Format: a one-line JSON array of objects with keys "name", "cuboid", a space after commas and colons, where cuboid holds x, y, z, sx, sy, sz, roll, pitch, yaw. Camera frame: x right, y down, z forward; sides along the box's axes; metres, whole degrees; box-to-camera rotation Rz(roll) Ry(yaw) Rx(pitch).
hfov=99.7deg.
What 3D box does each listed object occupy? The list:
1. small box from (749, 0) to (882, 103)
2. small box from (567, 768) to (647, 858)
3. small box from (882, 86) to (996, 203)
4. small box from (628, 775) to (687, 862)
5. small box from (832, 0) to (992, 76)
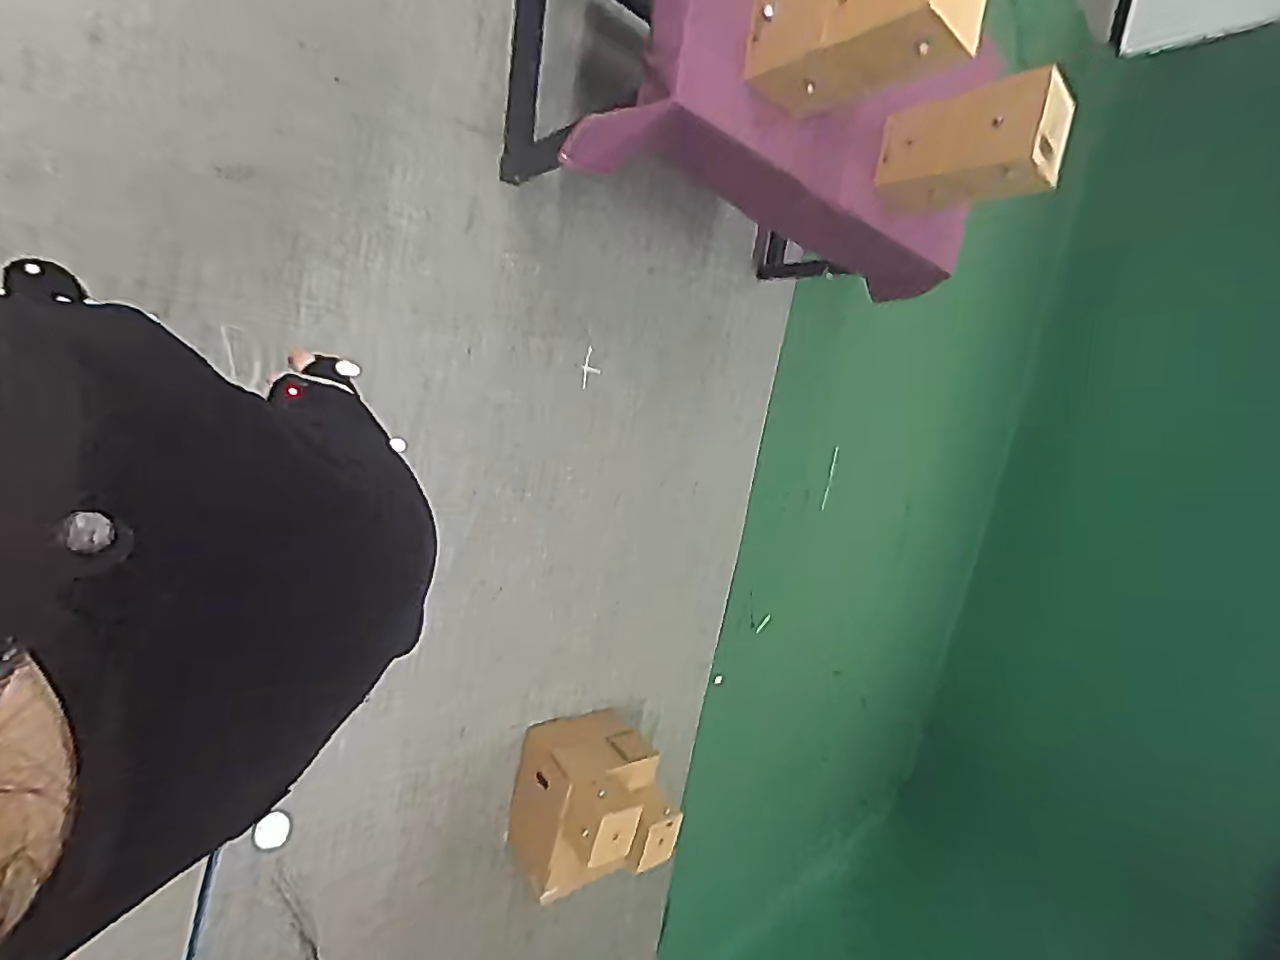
[{"name": "small box", "cuboid": [0.321, -0.801, 0.954, 0.179, 0.176, 0.168, -3, 105, -38]}, {"name": "small box", "cuboid": [-0.111, 1.051, 1.730, 0.168, 0.176, 0.179, 13, 96, -40]}, {"name": "small box", "cuboid": [0.706, -0.781, 1.283, 0.179, 0.176, 0.168, 5, 101, -41]}, {"name": "small box", "cuboid": [0.031, 1.176, 1.891, 0.168, 0.176, 0.179, 12, 98, -43]}, {"name": "small box", "cuboid": [0.427, -0.766, 0.836, 0.179, 0.176, 0.168, -5, 106, -38]}]
